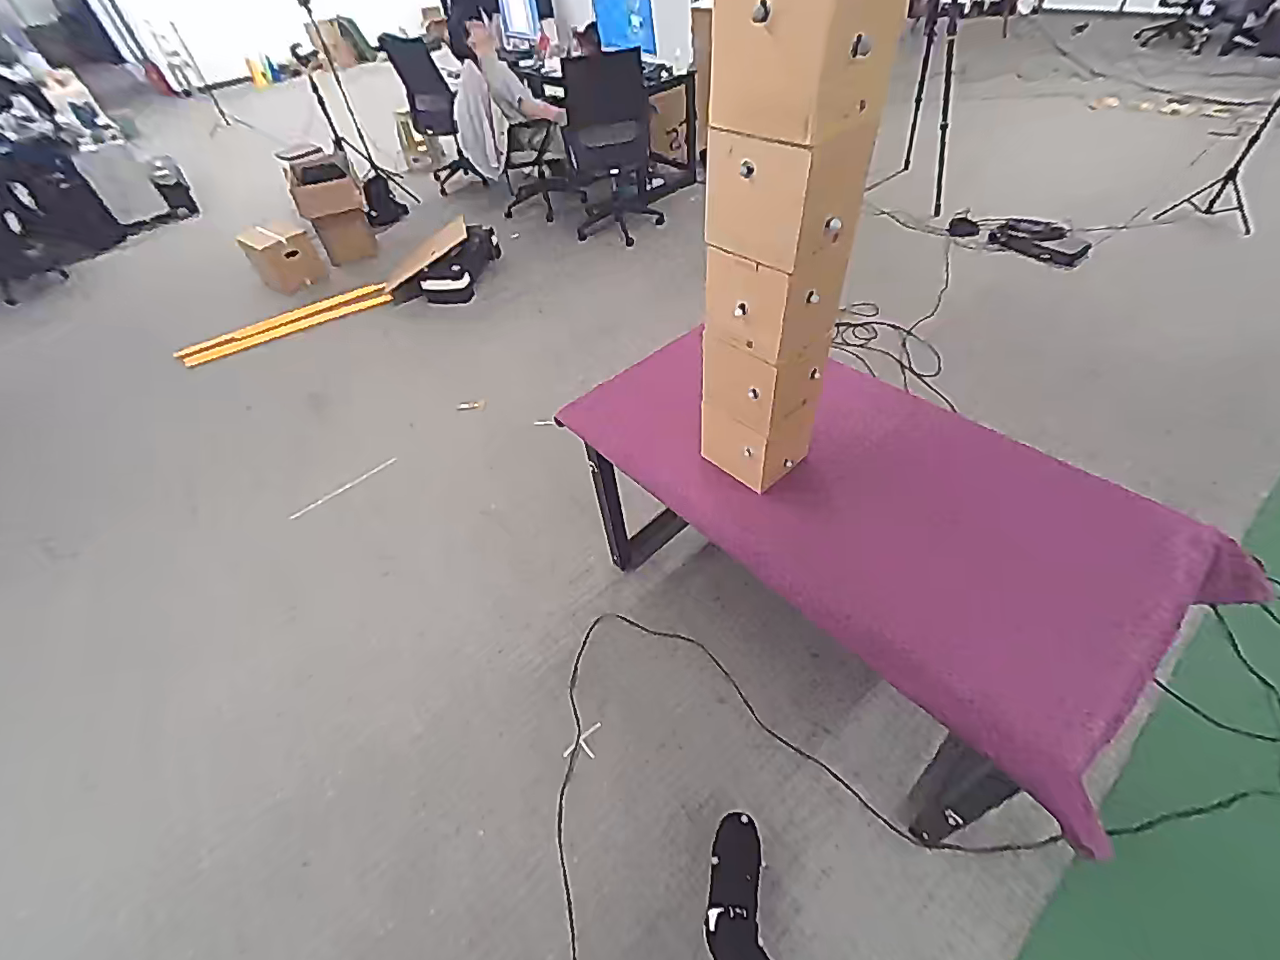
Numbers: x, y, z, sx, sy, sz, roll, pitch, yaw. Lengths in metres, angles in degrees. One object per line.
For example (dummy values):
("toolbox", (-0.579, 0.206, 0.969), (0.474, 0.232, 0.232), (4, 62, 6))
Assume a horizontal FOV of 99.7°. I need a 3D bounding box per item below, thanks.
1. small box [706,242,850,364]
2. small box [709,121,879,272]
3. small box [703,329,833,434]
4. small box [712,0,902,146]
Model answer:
("small box", (0.233, -0.327, 0.933), (0.179, 0.176, 0.168), (-37, 54, -24))
("small box", (0.217, -0.436, 0.811), (0.168, 0.176, 0.179), (-37, 55, -25))
("small box", (0.241, -0.214, 1.050), (0.168, 0.176, 0.179), (-36, 53, -24))
("small box", (0.210, -0.546, 0.691), (0.168, 0.176, 0.179), (-37, 53, -25))
